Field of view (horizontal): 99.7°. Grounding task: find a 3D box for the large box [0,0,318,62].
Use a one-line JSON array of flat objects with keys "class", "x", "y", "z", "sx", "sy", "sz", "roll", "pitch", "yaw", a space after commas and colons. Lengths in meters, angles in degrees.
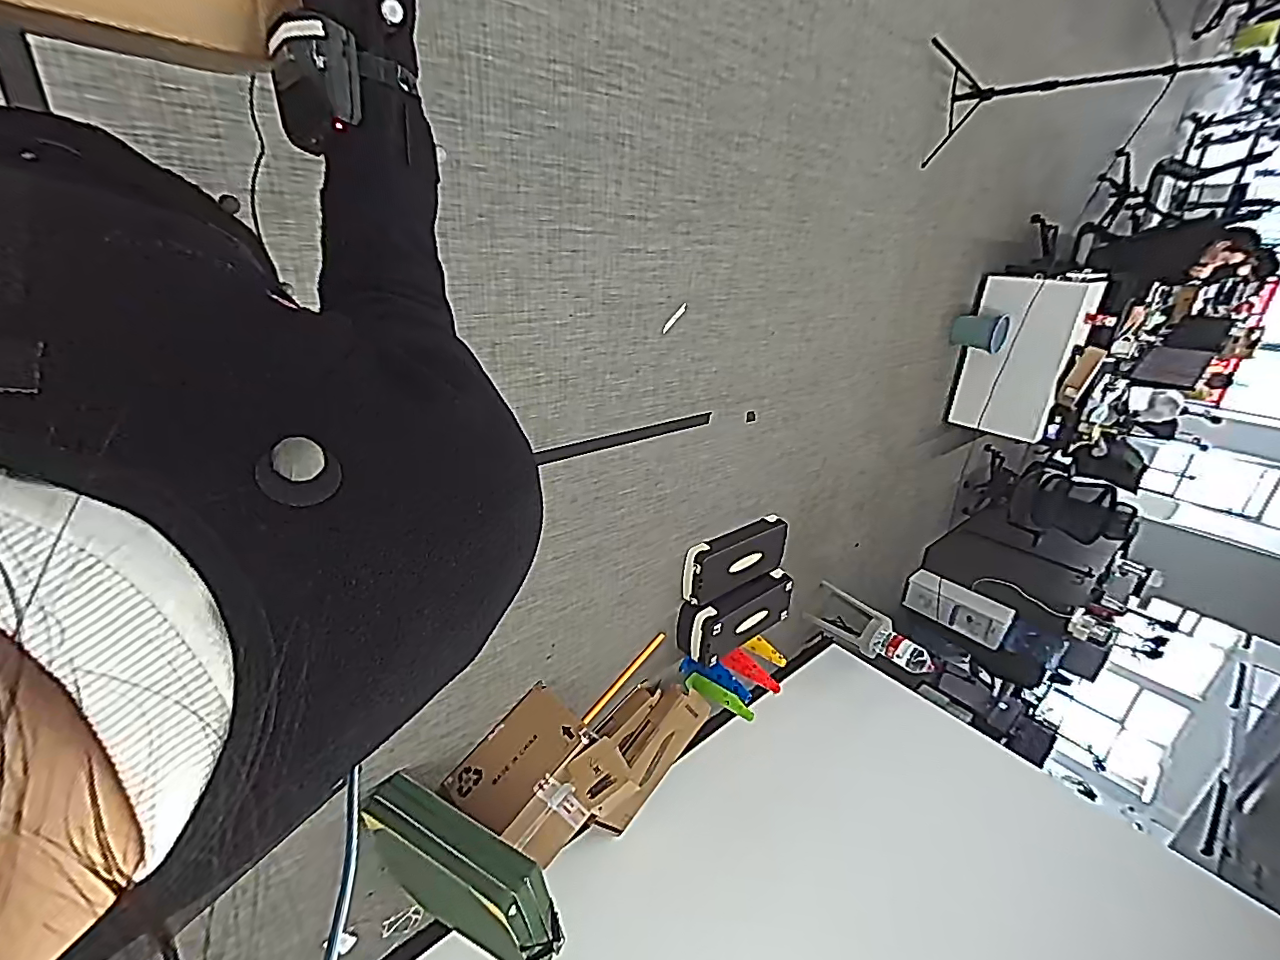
[{"class": "large box", "x": -0.452, "y": -0.448, "z": 0.272, "sx": 0.408, "sy": 0.320, "sz": 0.320, "roll": -18, "pitch": 130, "yaw": -40}]
